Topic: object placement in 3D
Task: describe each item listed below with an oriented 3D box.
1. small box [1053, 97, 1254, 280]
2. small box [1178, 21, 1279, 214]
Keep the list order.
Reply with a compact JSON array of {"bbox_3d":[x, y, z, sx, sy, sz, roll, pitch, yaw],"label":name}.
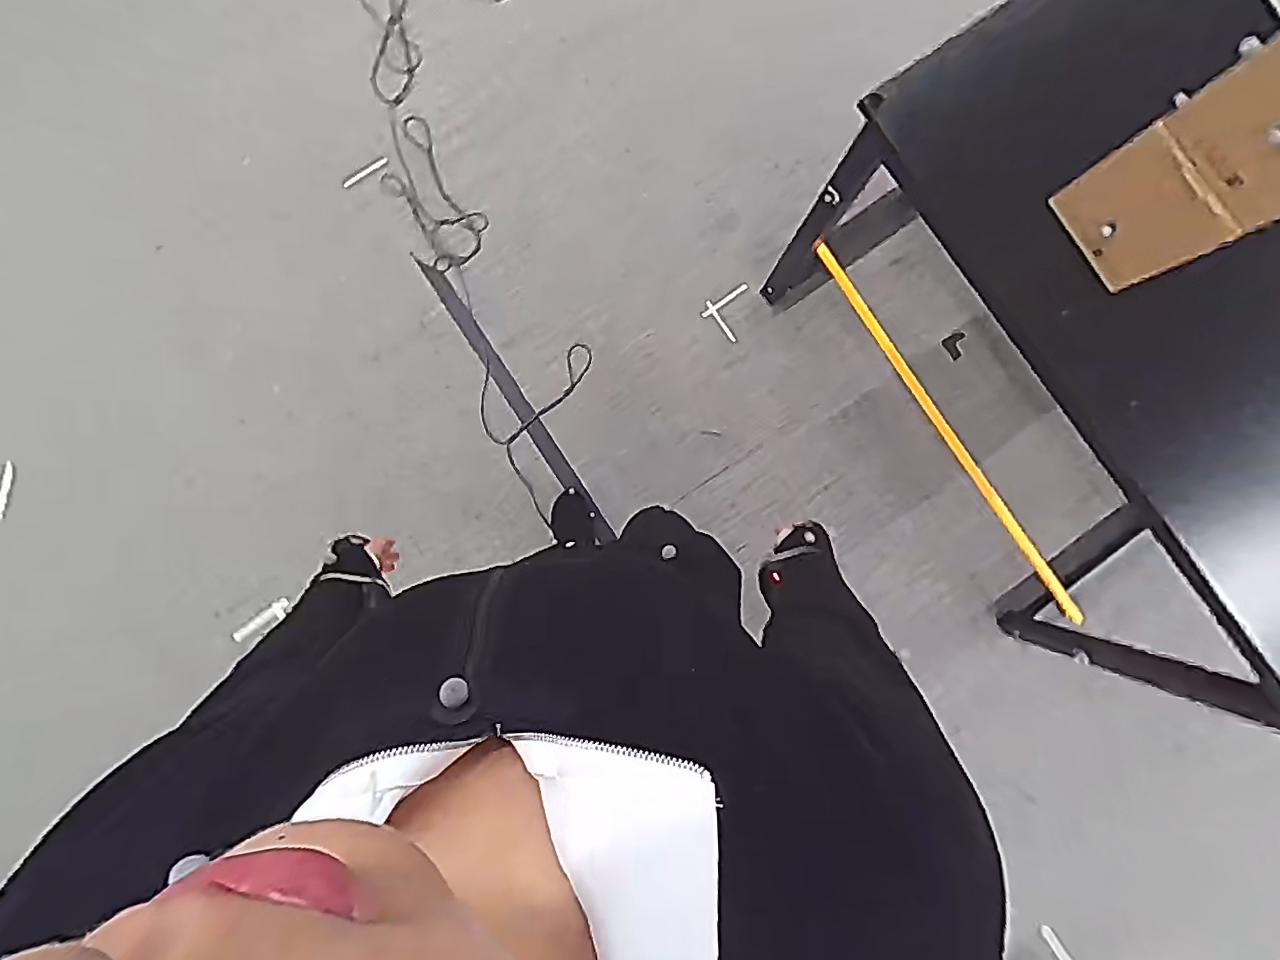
[{"bbox_3d":[0.716,-0.404,0.718,0.179,0.176,0.168,-34,88,-2],"label":"small box"},{"bbox_3d":[0.724,-0.417,0.555,0.179,0.176,0.168,-36,89,-2],"label":"small box"}]
